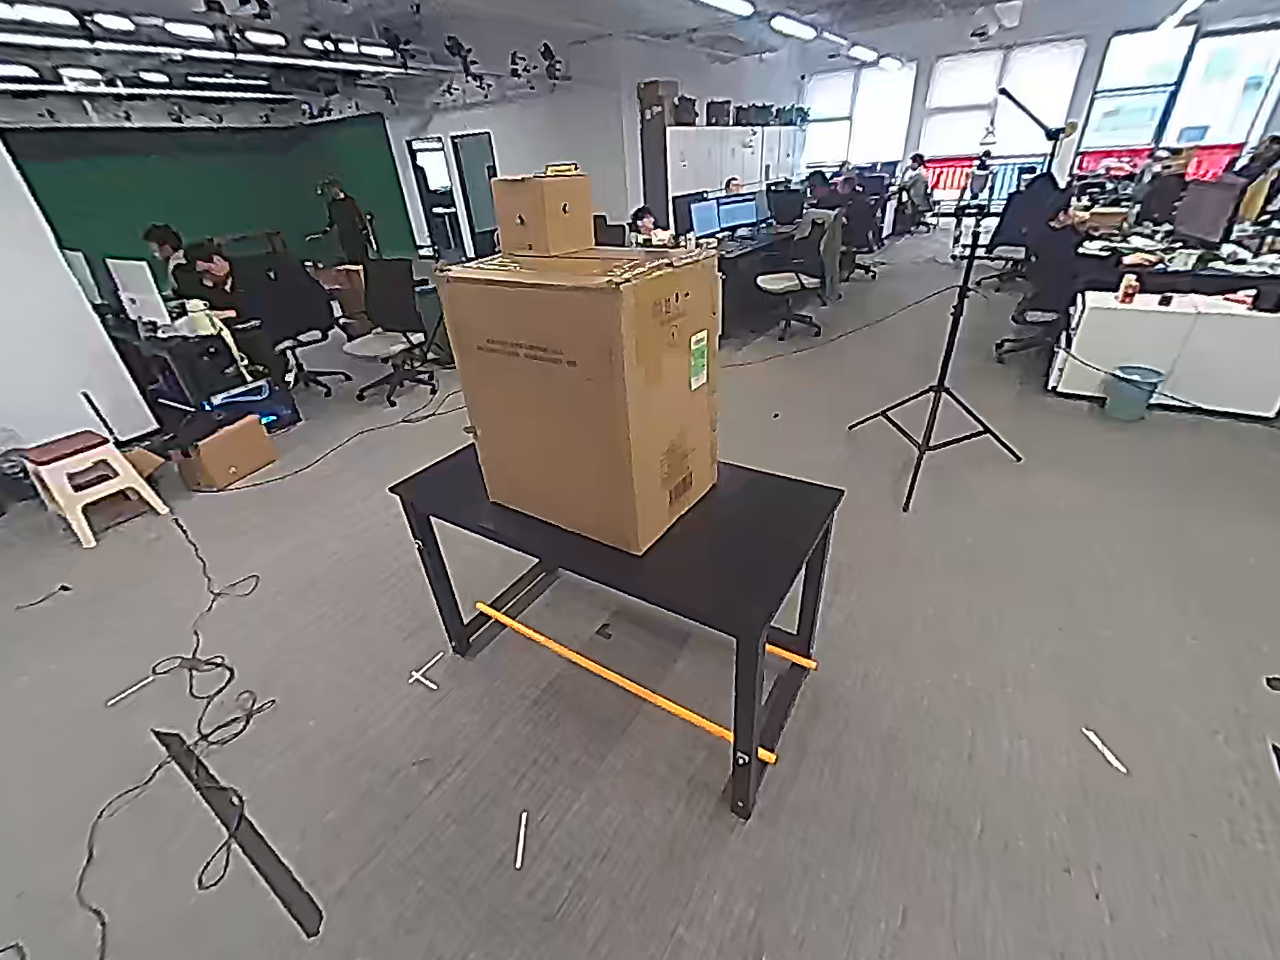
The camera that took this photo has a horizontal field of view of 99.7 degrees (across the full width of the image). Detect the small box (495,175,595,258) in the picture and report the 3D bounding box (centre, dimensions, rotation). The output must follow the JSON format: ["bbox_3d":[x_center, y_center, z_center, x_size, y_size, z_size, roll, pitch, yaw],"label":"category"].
[{"bbox_3d":[-0.224,-0.645,1.325,0.168,0.176,0.179,17,35,29],"label":"small box"}]
